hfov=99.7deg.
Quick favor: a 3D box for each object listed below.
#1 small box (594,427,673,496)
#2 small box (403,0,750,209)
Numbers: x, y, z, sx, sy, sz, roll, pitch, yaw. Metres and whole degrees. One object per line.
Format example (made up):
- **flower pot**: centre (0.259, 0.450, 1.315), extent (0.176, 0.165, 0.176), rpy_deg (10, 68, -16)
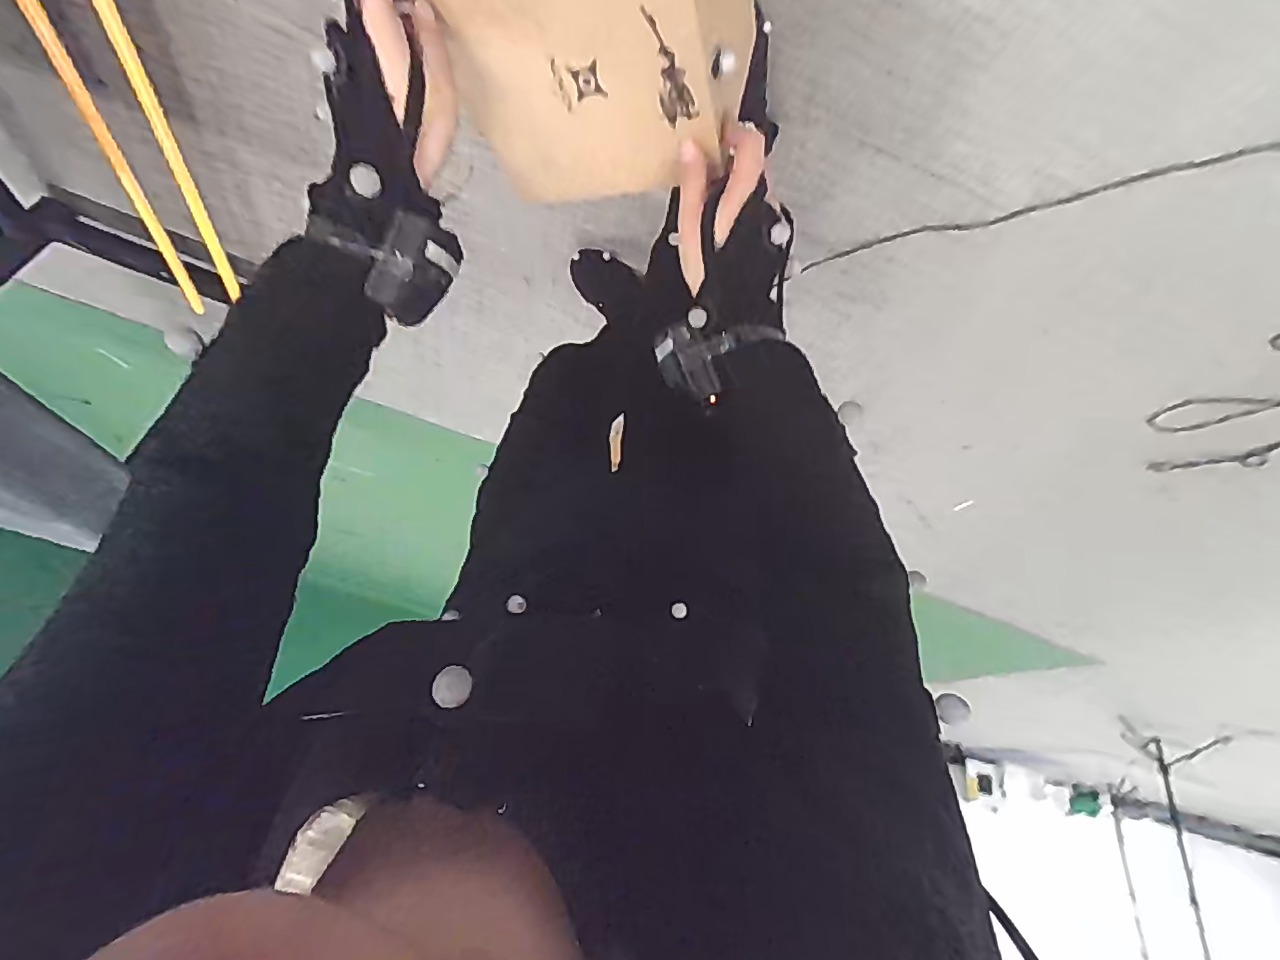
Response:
- **small box**: centre (-0.019, -0.037, 1.631), extent (0.179, 0.176, 0.168), rpy_deg (20, 151, -12)
- **small box**: centre (-0.028, -0.330, 0.387), extent (0.179, 0.176, 0.168), rpy_deg (4, 156, 21)
